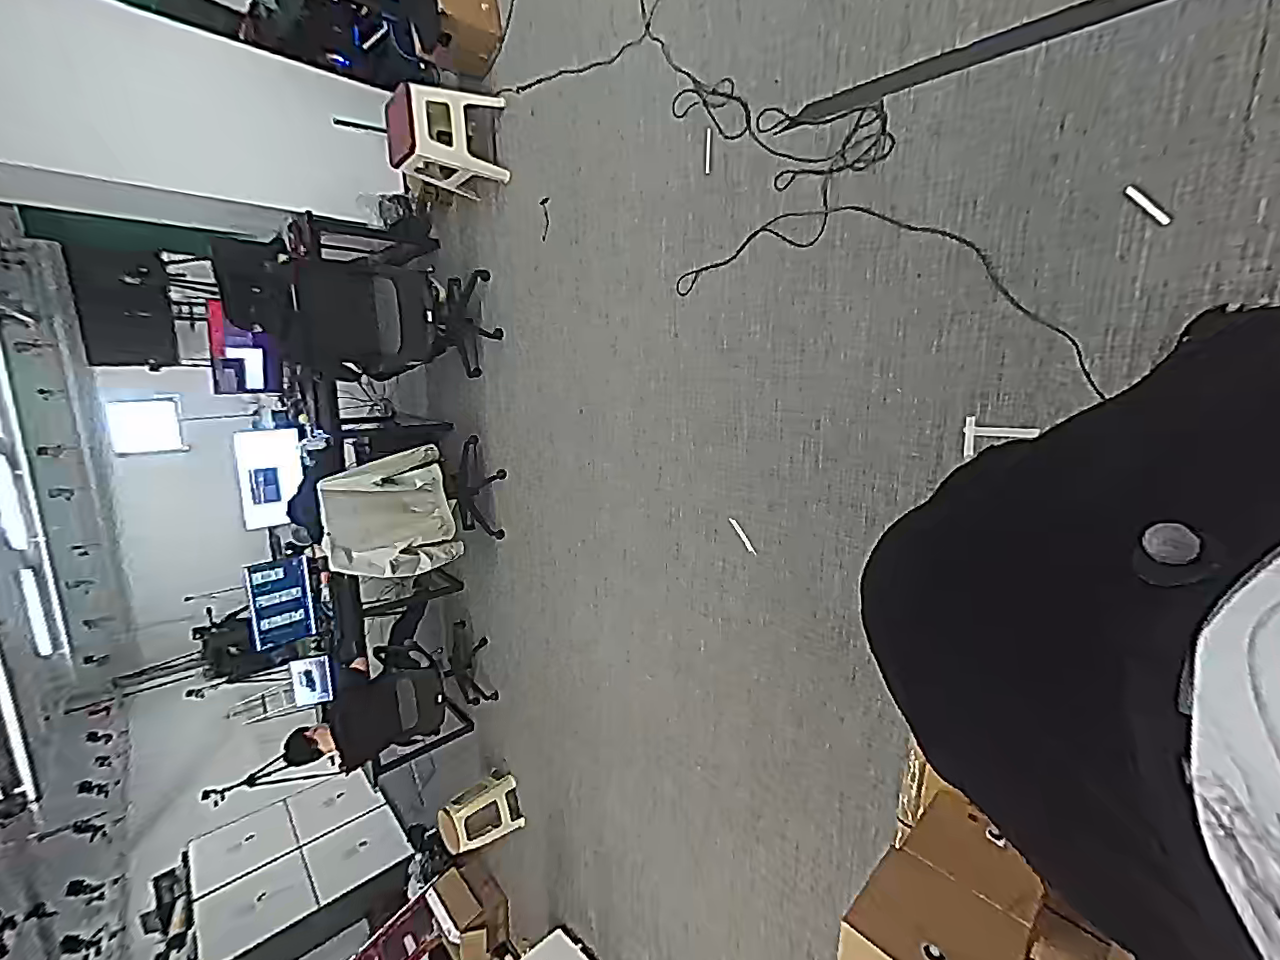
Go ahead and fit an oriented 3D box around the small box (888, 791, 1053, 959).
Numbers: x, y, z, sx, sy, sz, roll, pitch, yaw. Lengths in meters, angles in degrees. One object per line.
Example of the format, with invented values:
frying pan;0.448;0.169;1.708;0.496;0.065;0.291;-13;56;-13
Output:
small box;0.499;0.624;0.817;0.168;0.176;0.179;12;105;44
